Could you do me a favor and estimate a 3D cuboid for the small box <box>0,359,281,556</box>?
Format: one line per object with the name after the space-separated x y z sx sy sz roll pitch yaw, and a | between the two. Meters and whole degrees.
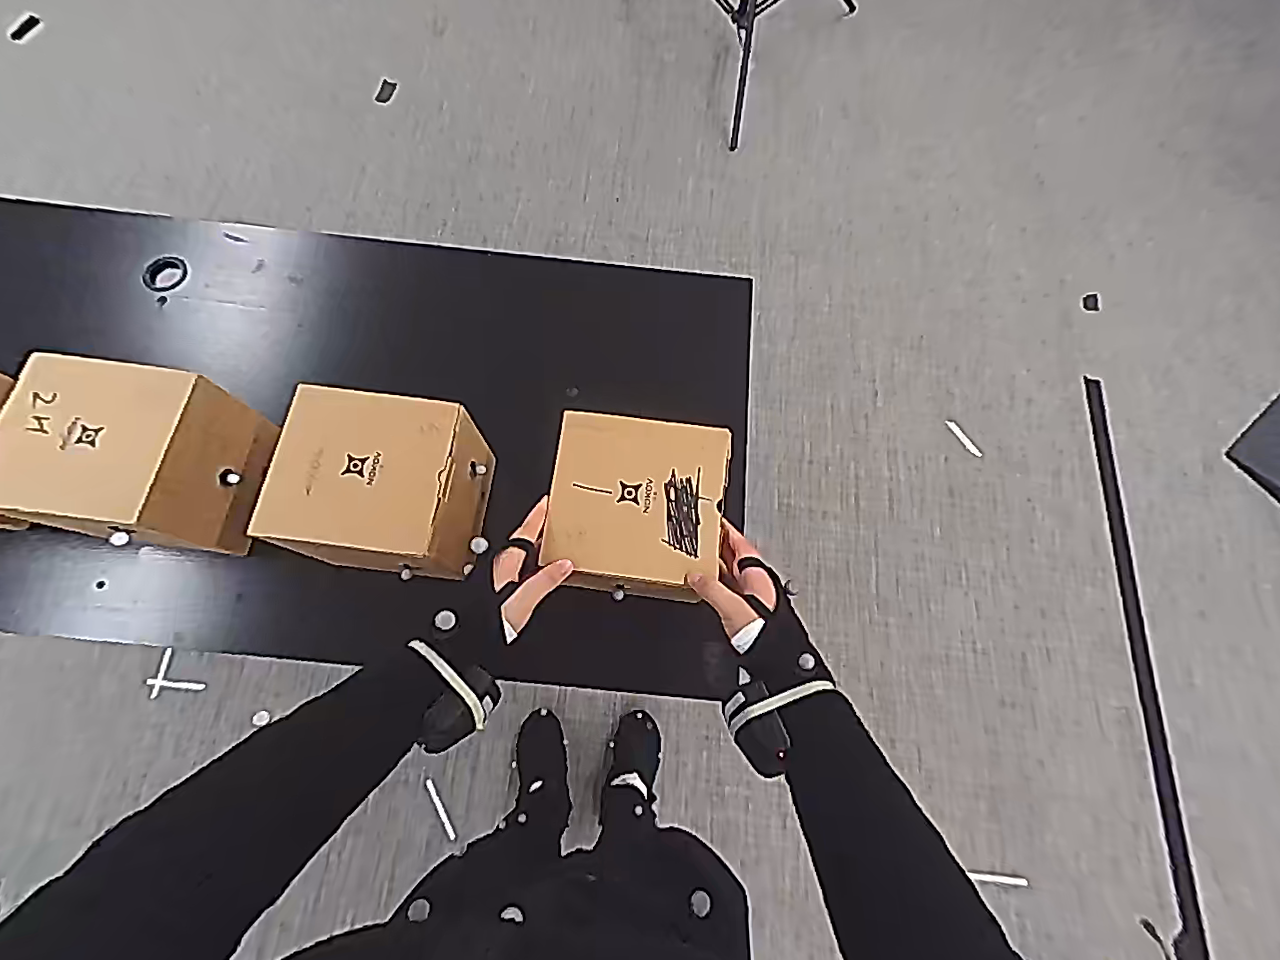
-0.557 -0.014 0.615 0.179 0.176 0.168 7 71 0 | small box

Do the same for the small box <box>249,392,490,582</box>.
-0.285 0.018 0.620 0.179 0.176 0.168 6 71 0 | small box

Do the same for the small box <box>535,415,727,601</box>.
-0.007 0.042 0.616 0.179 0.176 0.168 7 73 2 | small box
